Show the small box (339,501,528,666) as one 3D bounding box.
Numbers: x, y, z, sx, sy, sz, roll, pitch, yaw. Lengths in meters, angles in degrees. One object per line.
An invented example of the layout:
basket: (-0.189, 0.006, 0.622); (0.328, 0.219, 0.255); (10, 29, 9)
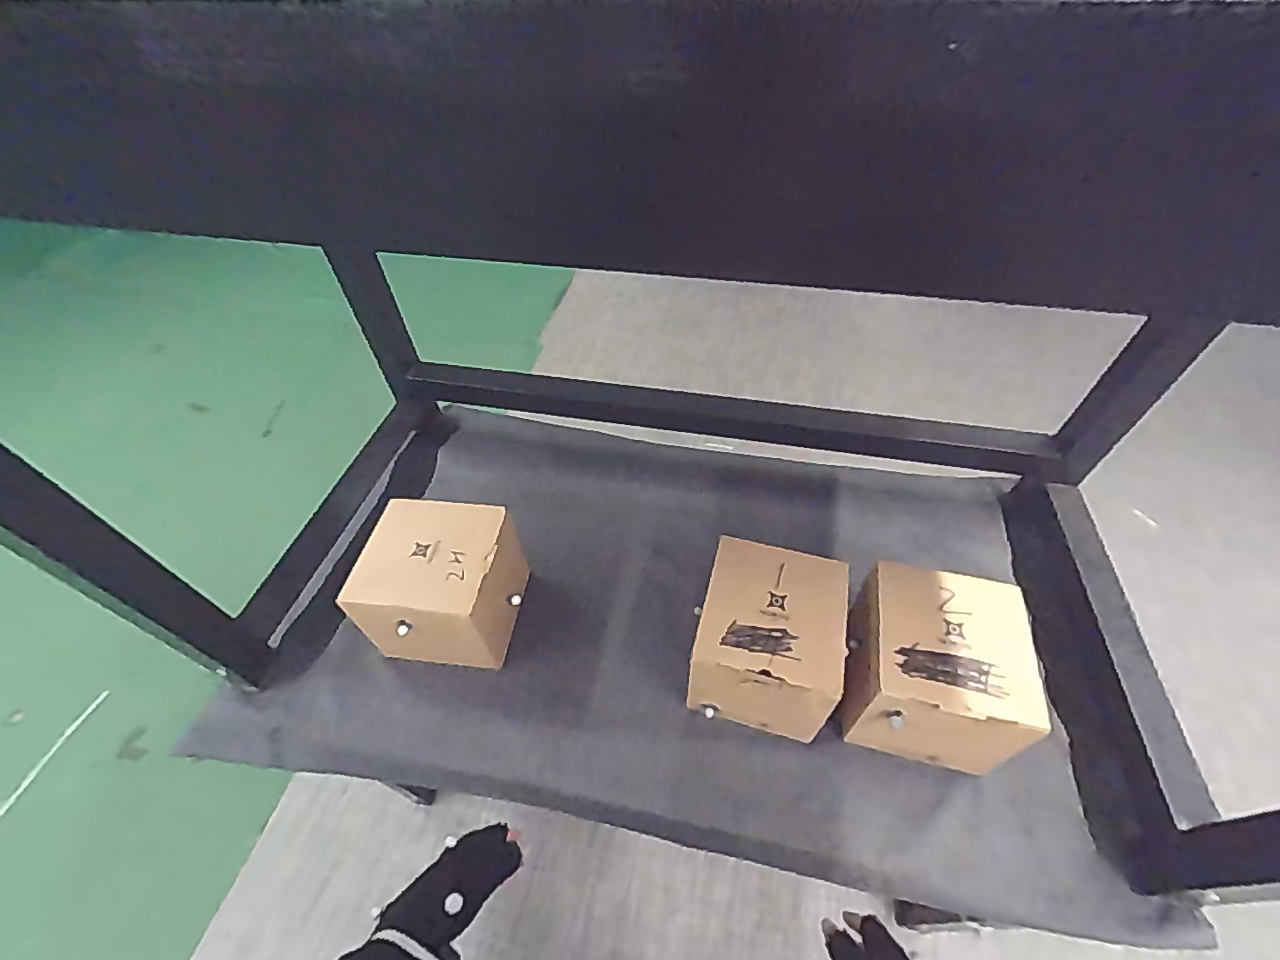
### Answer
small box: (-0.276, 0.150, 0.770); (0.179, 0.176, 0.168); (5, 50, 6)
